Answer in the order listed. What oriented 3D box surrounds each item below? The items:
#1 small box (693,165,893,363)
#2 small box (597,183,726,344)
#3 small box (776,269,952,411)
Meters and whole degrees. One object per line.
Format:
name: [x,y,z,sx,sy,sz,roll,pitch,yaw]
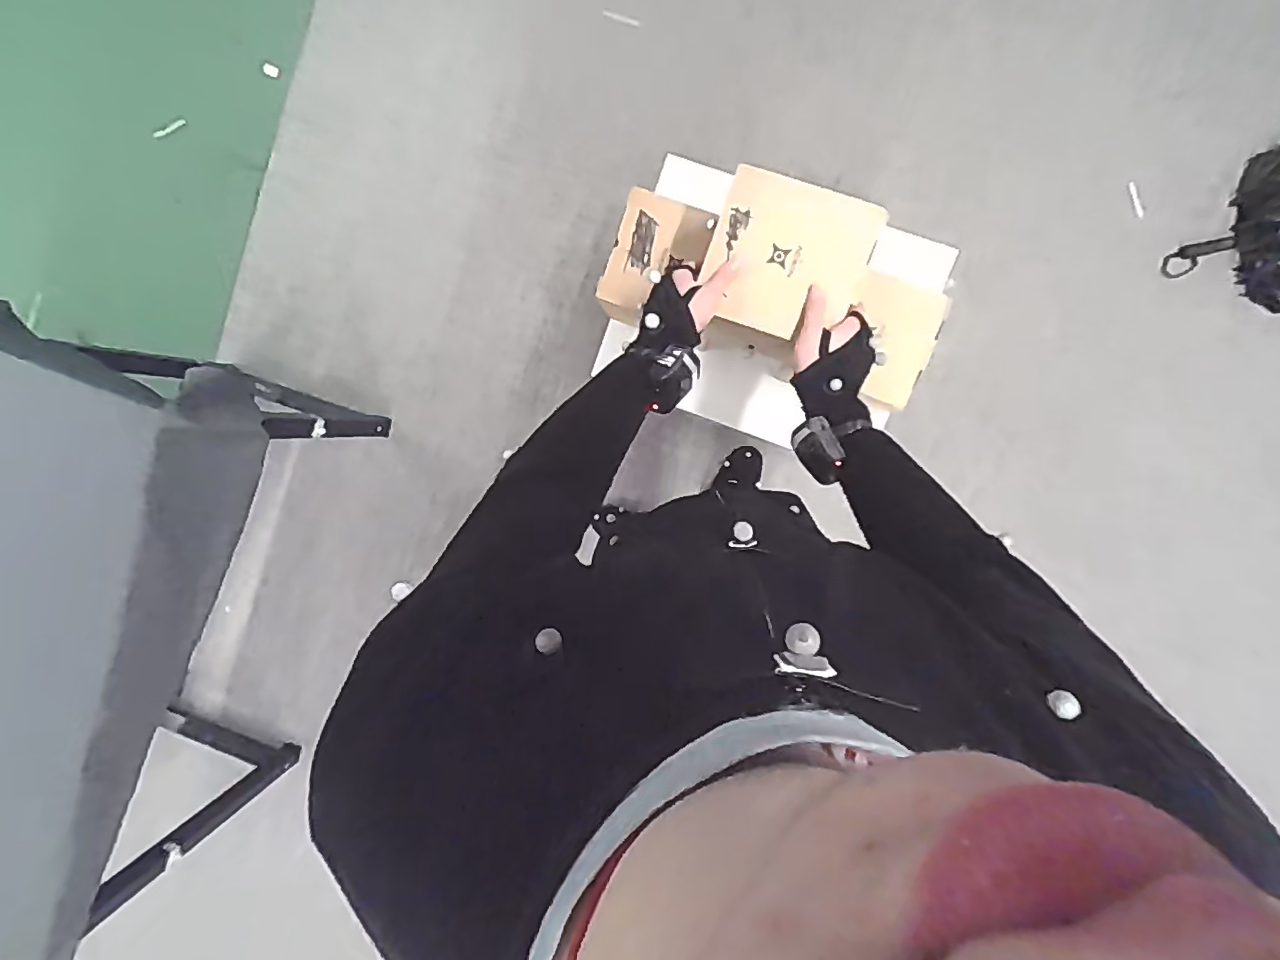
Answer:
small box: [0.175,-0.252,0.678,0.179,0.176,0.168,20,99,2]
small box: [0.050,-0.322,0.845,0.179,0.176,0.168,20,98,1]
small box: [0.329,-0.213,0.834,0.179,0.176,0.168,22,96,4]
